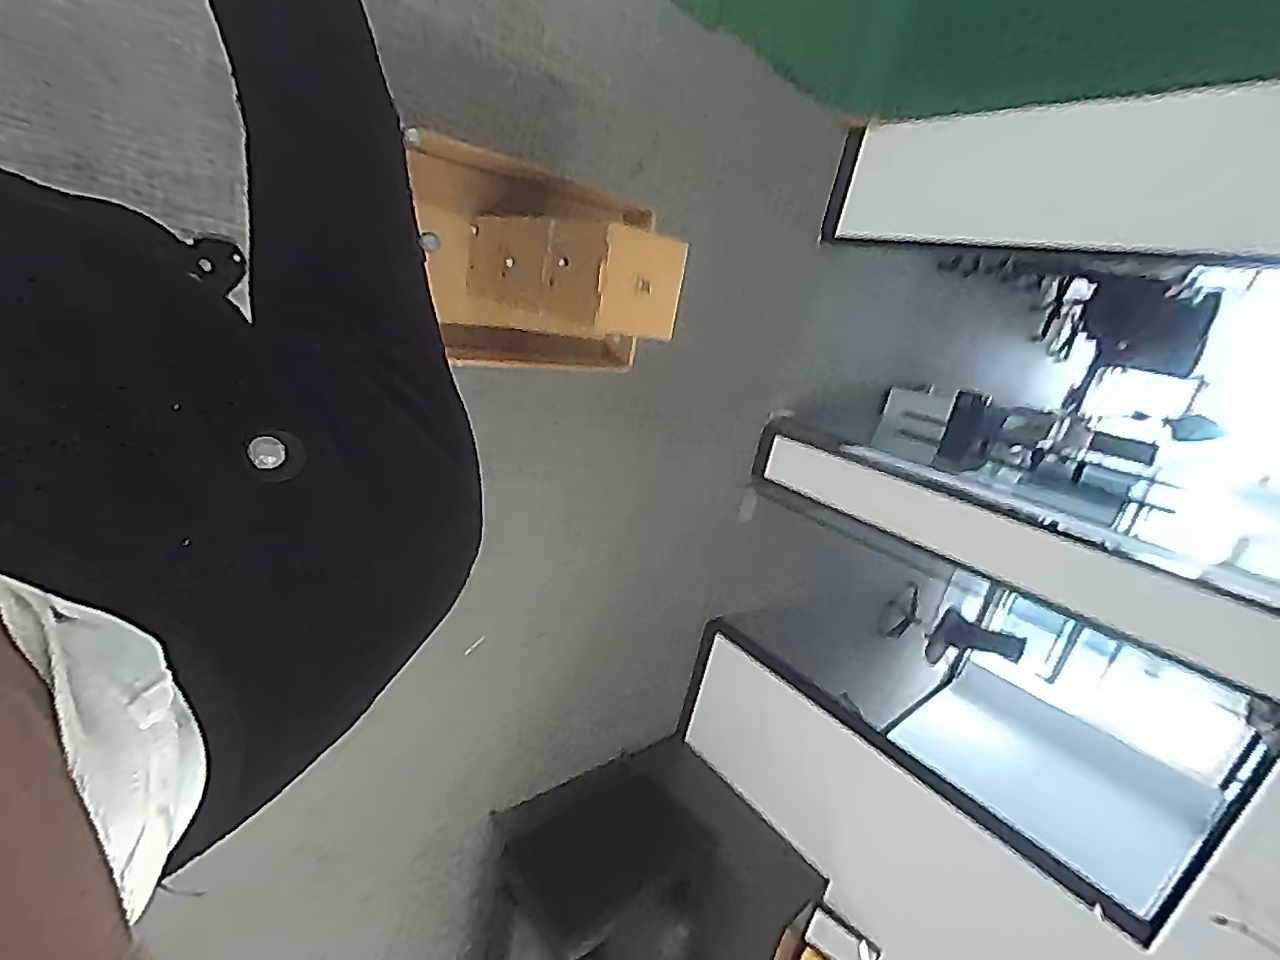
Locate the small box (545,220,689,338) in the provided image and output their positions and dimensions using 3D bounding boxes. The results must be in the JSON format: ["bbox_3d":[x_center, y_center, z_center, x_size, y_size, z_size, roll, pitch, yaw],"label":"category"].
[{"bbox_3d":[-0.045,-0.357,0.960,0.179,0.176,0.168,-7,116,-42],"label":"small box"}]

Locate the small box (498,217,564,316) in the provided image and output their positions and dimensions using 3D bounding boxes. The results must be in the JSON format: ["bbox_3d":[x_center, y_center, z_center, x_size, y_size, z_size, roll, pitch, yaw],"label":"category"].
[{"bbox_3d":[-0.155,-0.412,1.066,0.179,0.176,0.168,-7,115,-42],"label":"small box"}]

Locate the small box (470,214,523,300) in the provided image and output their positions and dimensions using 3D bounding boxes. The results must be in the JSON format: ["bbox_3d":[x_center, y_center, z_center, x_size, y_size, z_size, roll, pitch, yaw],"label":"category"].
[{"bbox_3d":[-0.254,-0.472,1.183,0.179,0.176,0.168,-6,115,-43],"label":"small box"}]
